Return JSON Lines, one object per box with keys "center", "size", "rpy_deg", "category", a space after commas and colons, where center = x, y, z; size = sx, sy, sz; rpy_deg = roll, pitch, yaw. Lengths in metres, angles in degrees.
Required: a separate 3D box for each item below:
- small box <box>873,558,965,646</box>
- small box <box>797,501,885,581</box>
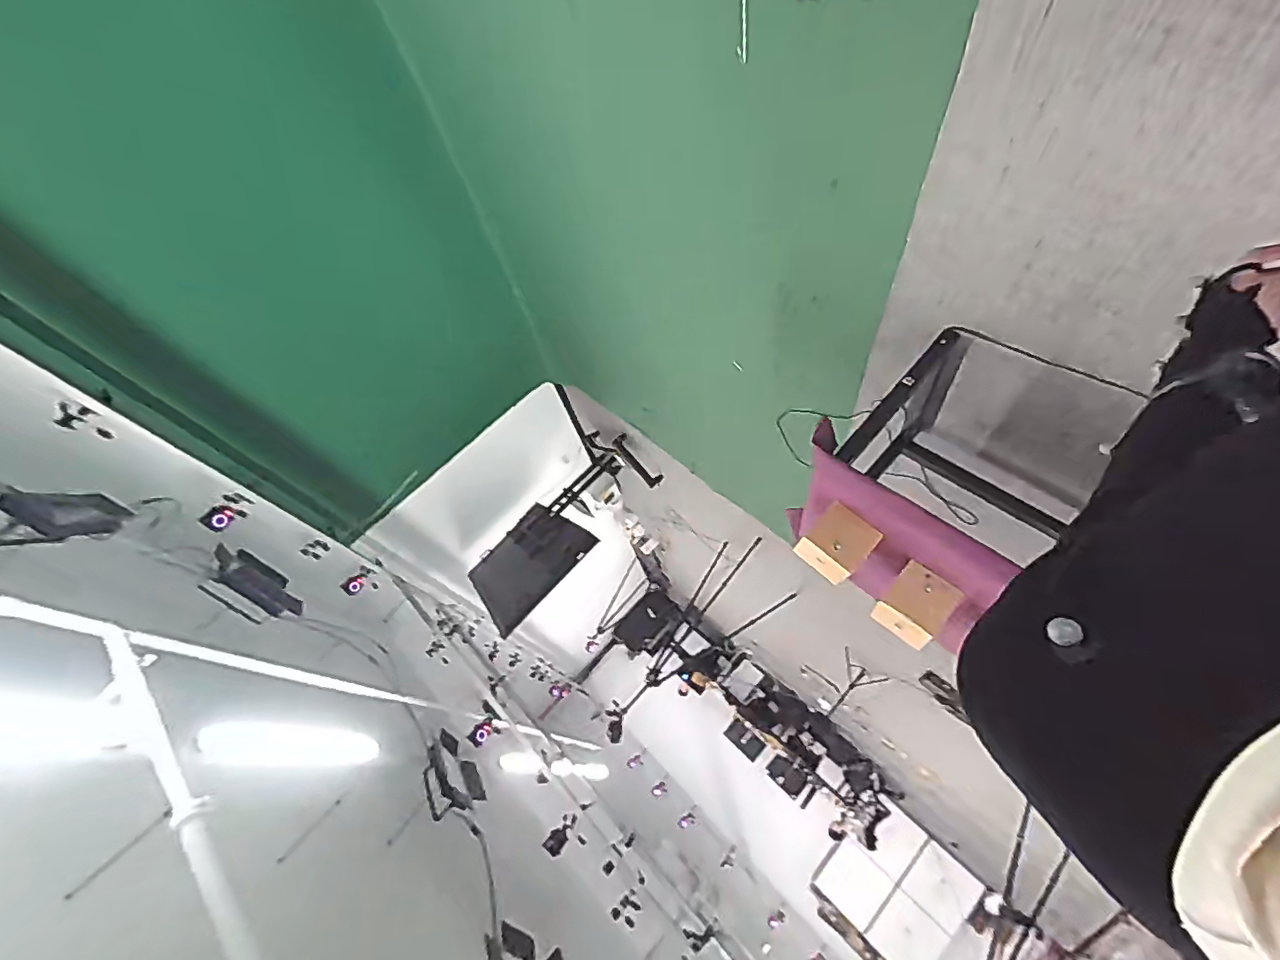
{"center": [0.838, 0.367, 1.628], "size": [0.168, 0.176, 0.179], "rpy_deg": [37, 164, 27], "category": "small box"}
{"center": [0.633, 0.187, 1.713], "size": [0.179, 0.176, 0.168], "rpy_deg": [40, 165, 17], "category": "small box"}
